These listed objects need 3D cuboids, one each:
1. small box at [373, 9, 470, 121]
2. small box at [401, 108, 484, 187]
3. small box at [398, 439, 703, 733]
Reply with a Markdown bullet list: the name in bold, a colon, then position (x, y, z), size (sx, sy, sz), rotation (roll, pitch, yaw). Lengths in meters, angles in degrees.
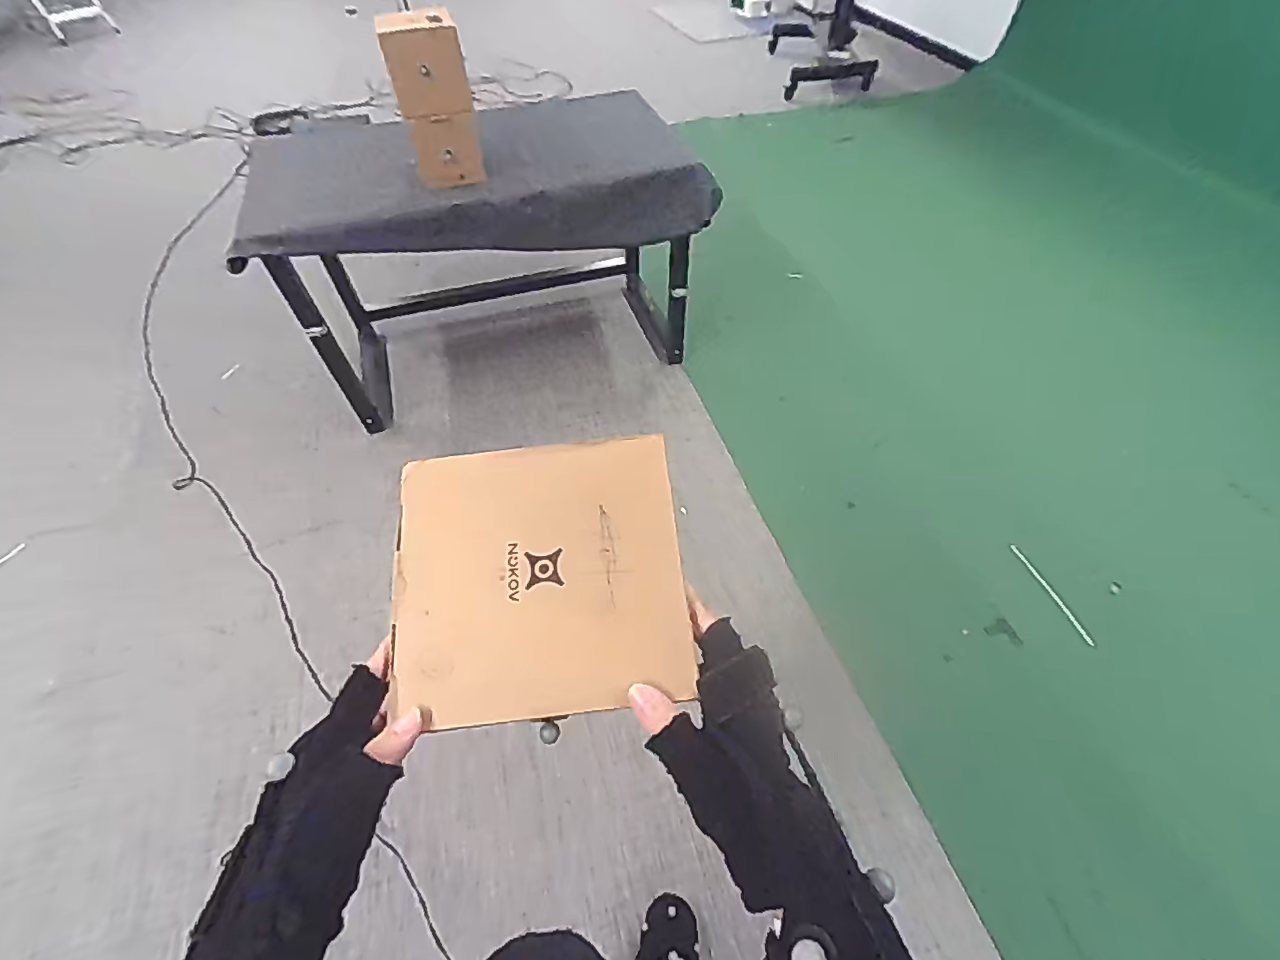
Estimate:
- **small box**: position (-0.518, -0.993, 1.297), size (0.179, 0.176, 0.168), rotation (-15, 54, -10)
- **small box**: position (-0.523, -0.895, 1.429), size (0.168, 0.176, 0.179), rotation (-16, 55, -11)
- **small box**: position (-0.058, 0.087, 0.406), size (0.179, 0.176, 0.168), rotation (-7, 69, -3)
